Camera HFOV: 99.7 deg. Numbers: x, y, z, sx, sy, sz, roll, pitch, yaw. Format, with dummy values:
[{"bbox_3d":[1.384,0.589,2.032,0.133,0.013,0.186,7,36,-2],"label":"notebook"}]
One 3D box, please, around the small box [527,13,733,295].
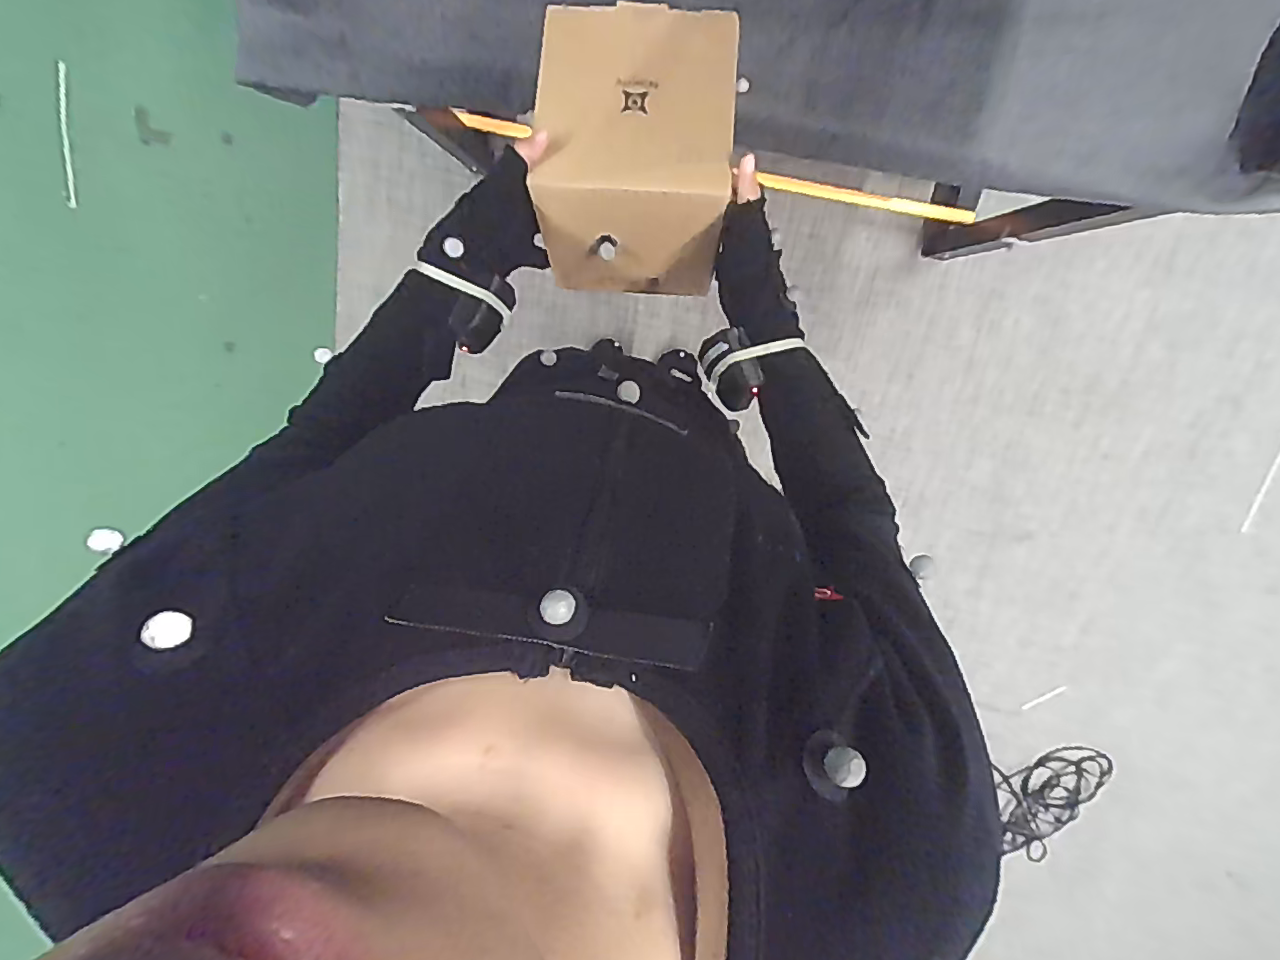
[{"bbox_3d":[-0.005,-0.302,0.531,0.168,0.176,0.179,3,79,1],"label":"small box"}]
